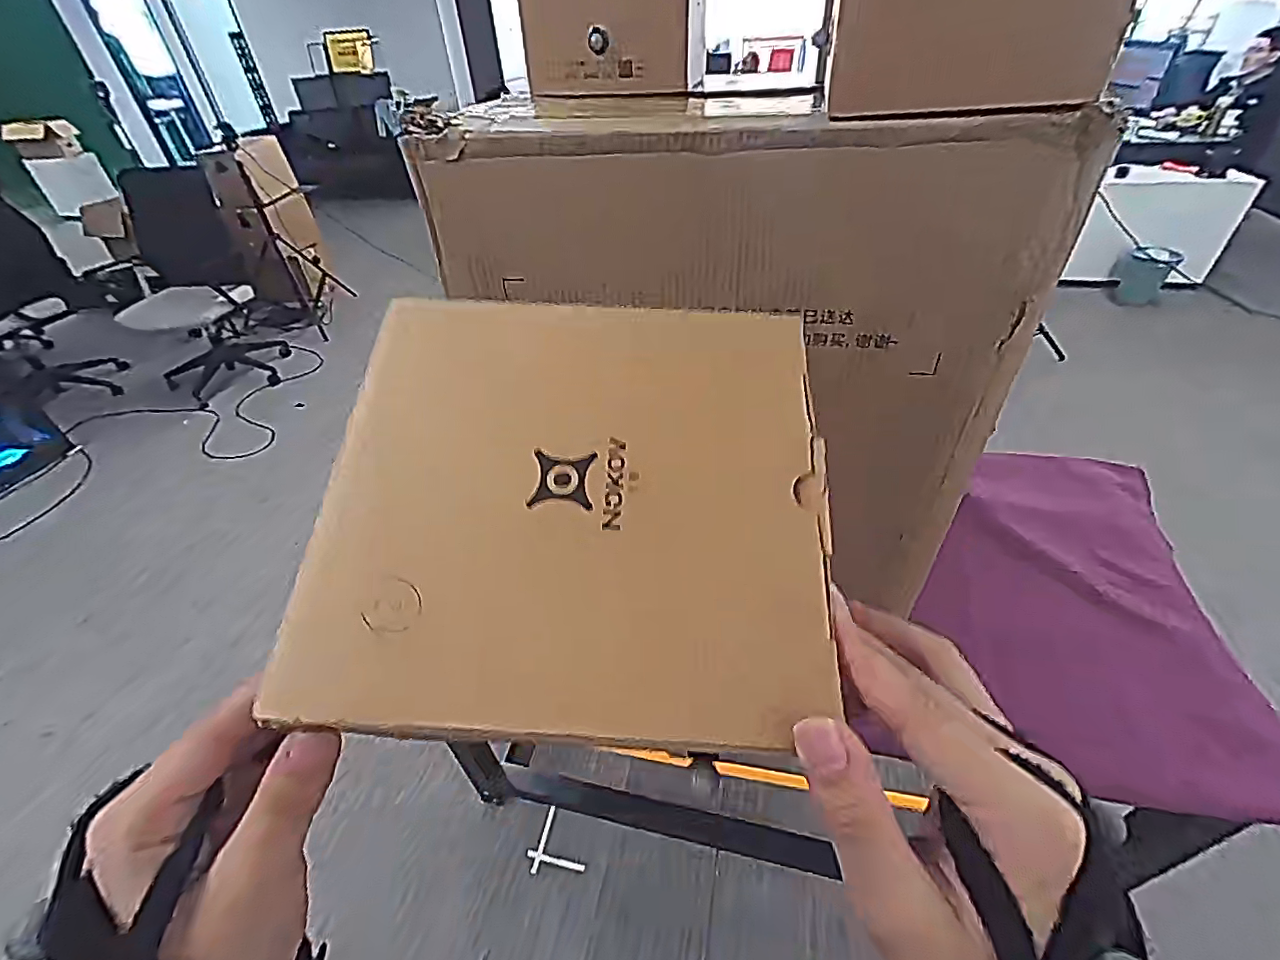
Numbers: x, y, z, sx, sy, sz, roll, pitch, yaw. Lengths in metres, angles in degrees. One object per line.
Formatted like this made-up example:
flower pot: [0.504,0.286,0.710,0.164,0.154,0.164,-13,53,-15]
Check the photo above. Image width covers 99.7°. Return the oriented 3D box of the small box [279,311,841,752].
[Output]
small box: [-0.021,0.039,0.270,0.179,0.176,0.168,3,63,1]

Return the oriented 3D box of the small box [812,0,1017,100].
small box: [0.266,-0.486,0.535,0.168,0.176,0.179,6,41,13]
